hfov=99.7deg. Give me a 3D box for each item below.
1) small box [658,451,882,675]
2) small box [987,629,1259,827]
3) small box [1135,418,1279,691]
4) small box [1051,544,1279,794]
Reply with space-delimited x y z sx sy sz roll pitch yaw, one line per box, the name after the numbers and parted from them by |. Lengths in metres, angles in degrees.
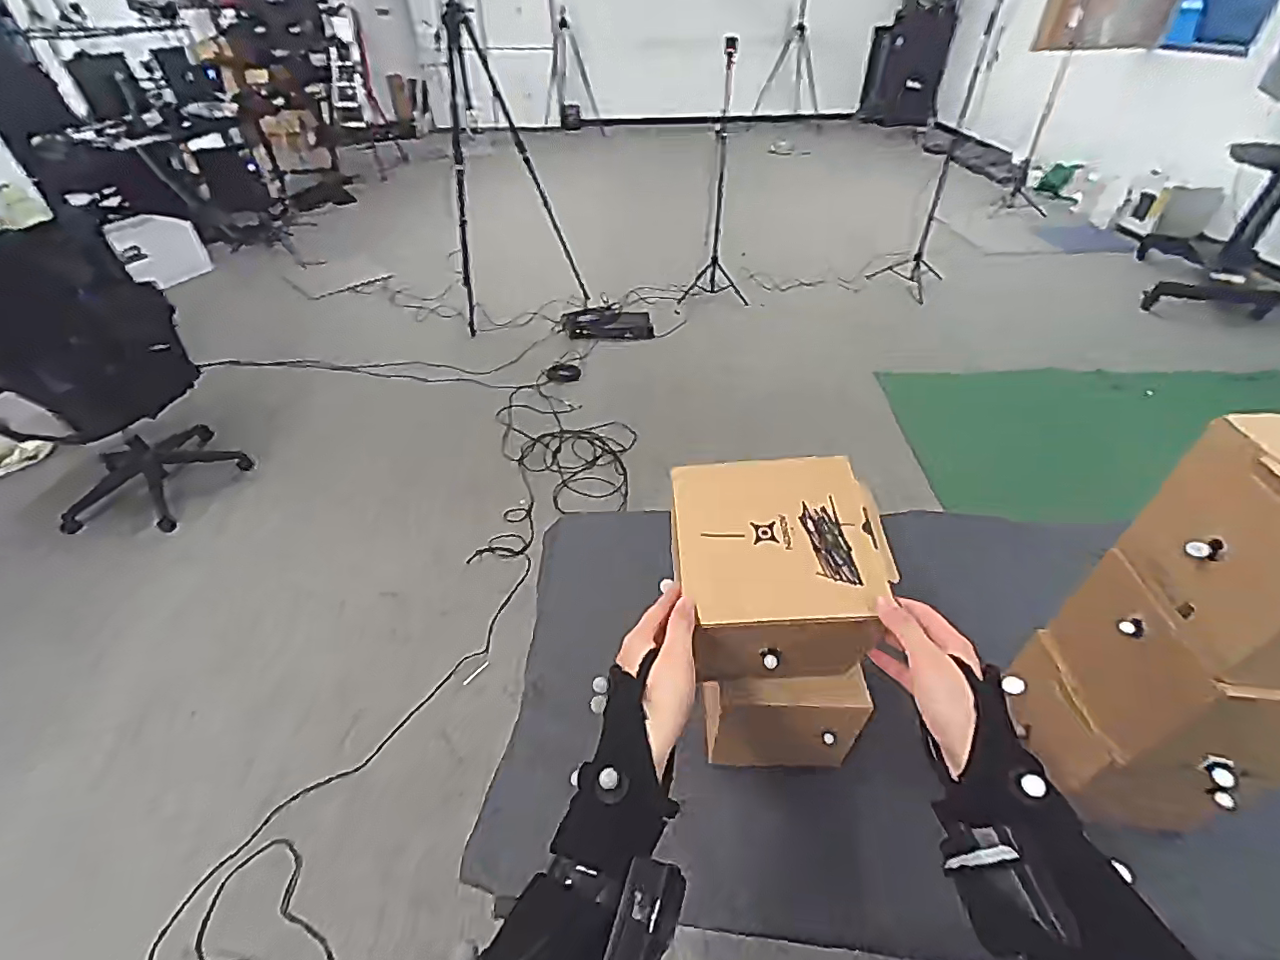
0.110 0.089 0.540 0.179 0.176 0.168 -4 56 2 | small box
0.578 0.308 0.669 0.179 0.176 0.168 3 41 5 | small box
0.573 0.066 0.450 0.179 0.176 0.168 4 42 9 | small box
0.574 0.191 0.556 0.168 0.176 0.179 3 42 7 | small box
